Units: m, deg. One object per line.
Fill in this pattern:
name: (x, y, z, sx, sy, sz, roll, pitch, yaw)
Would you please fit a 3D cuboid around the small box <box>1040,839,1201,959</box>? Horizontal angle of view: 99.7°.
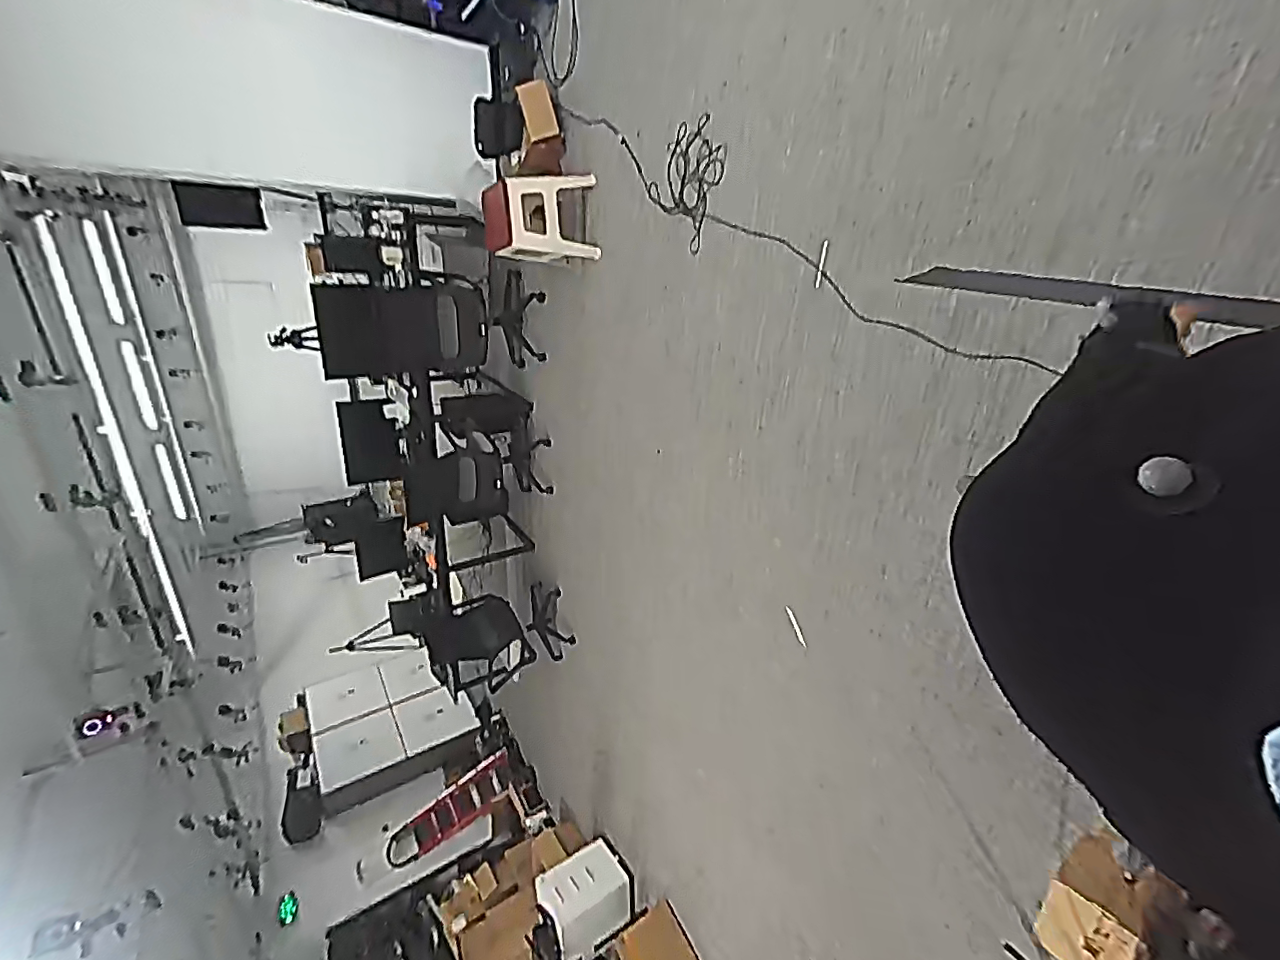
small box: (0.898, 0.835, 1.013, 0.168, 0.176, 0.179, 26, 121, 50)
